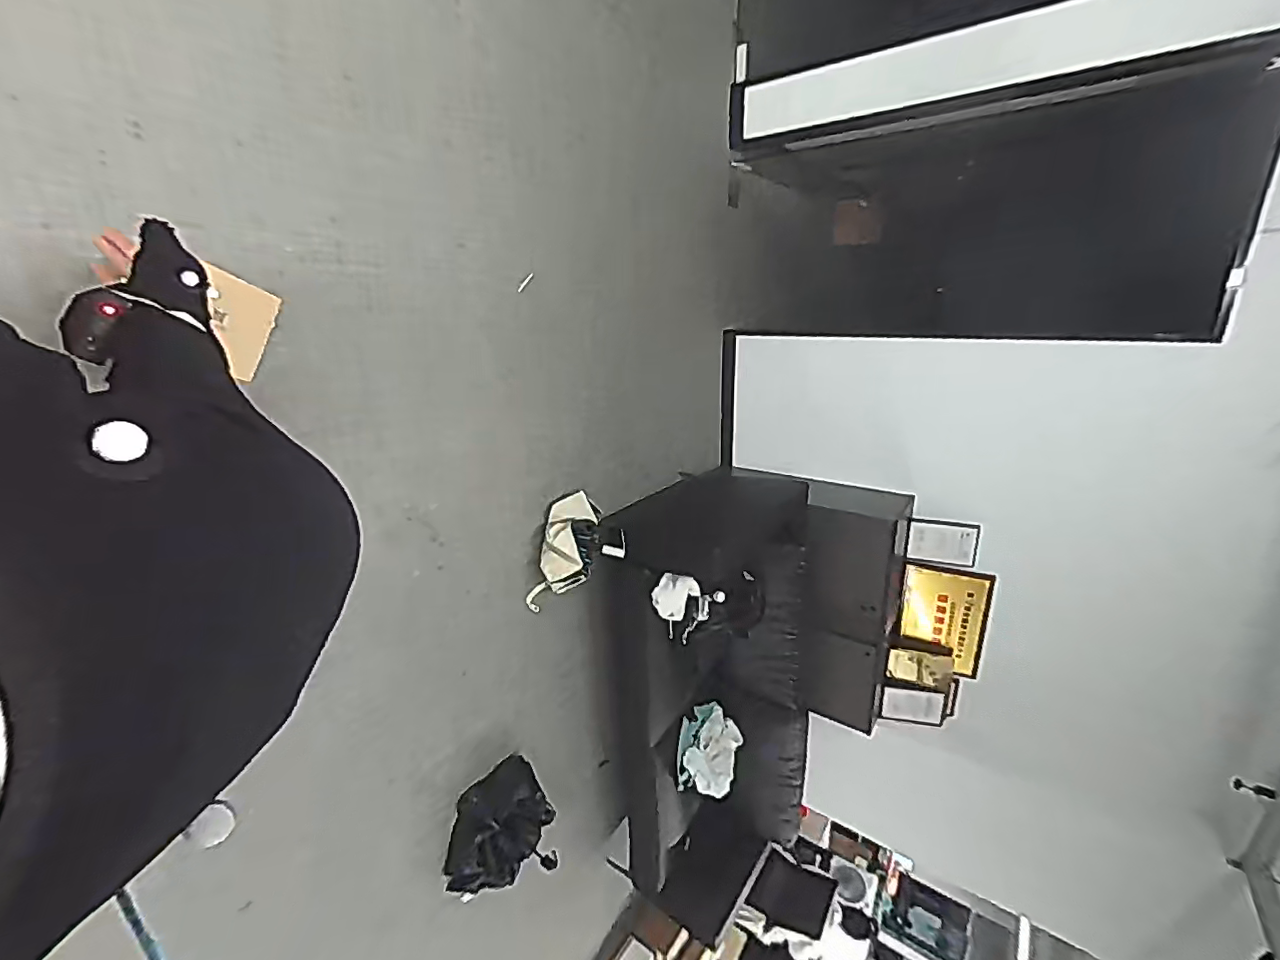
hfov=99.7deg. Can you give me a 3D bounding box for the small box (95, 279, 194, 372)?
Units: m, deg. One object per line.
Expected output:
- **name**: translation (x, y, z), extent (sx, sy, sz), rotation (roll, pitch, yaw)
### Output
- **small box**: translation (-0.943, -0.317, 1.086), extent (0.179, 0.176, 0.168), rotation (-32, 125, -48)

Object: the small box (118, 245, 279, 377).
- **small box**: translation (-0.820, -0.308, 1.003), extent (0.168, 0.176, 0.179), rotation (24, 81, -55)
